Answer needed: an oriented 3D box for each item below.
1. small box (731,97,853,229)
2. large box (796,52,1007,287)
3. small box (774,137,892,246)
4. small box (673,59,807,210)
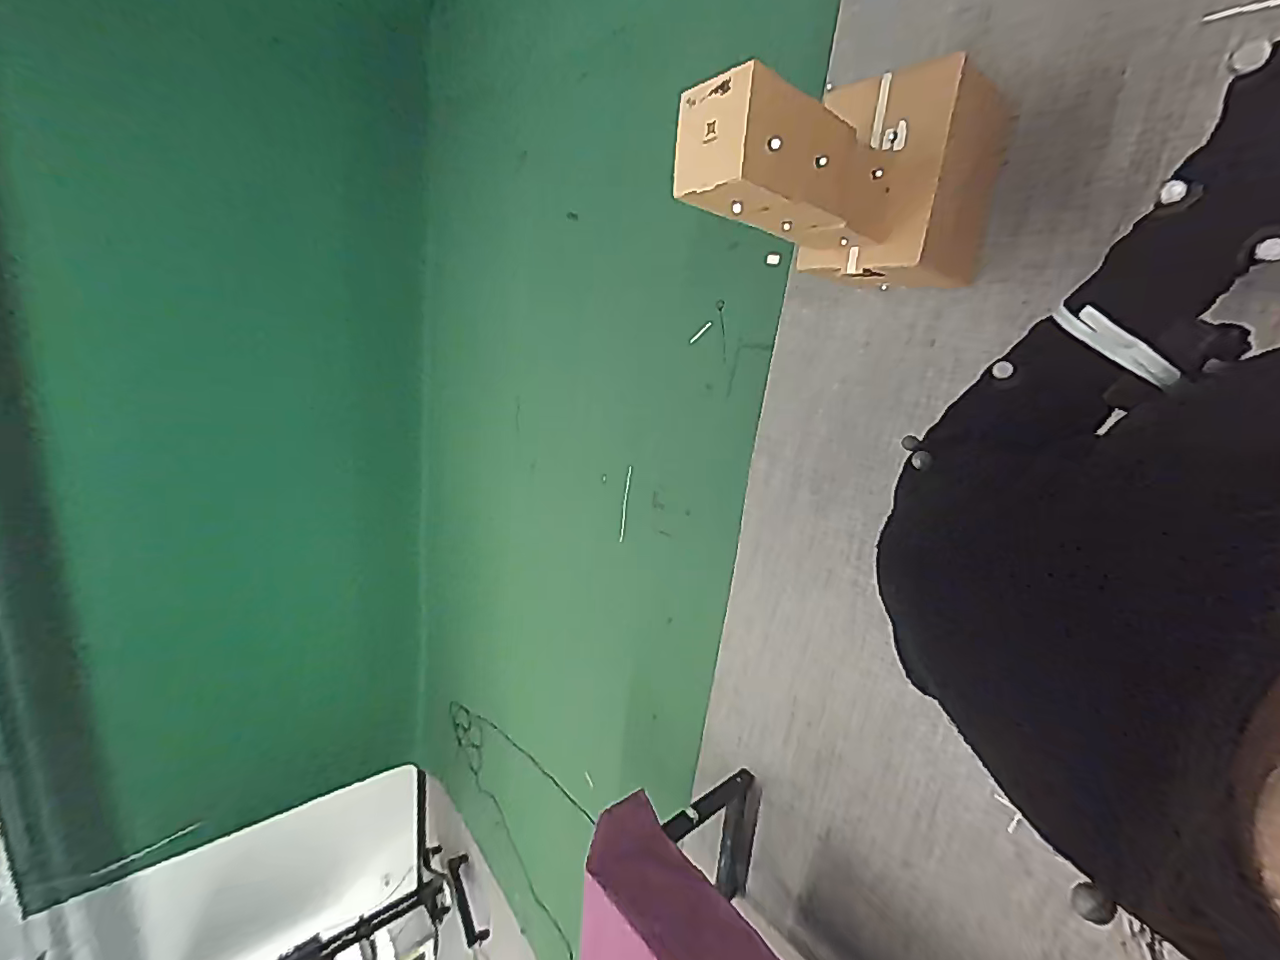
[{"bbox_3d":[0.304,-0.616,1.081,0.168,0.176,0.179,15,105,47],"label":"small box"},{"bbox_3d":[0.628,-0.706,1.319,0.320,0.320,0.408,22,110,45],"label":"large box"},{"bbox_3d":[0.426,-0.623,1.190,0.179,0.176,0.168,21,110,47],"label":"small box"},{"bbox_3d":[0.180,-0.601,0.972,0.168,0.176,0.179,18,108,46],"label":"small box"}]
